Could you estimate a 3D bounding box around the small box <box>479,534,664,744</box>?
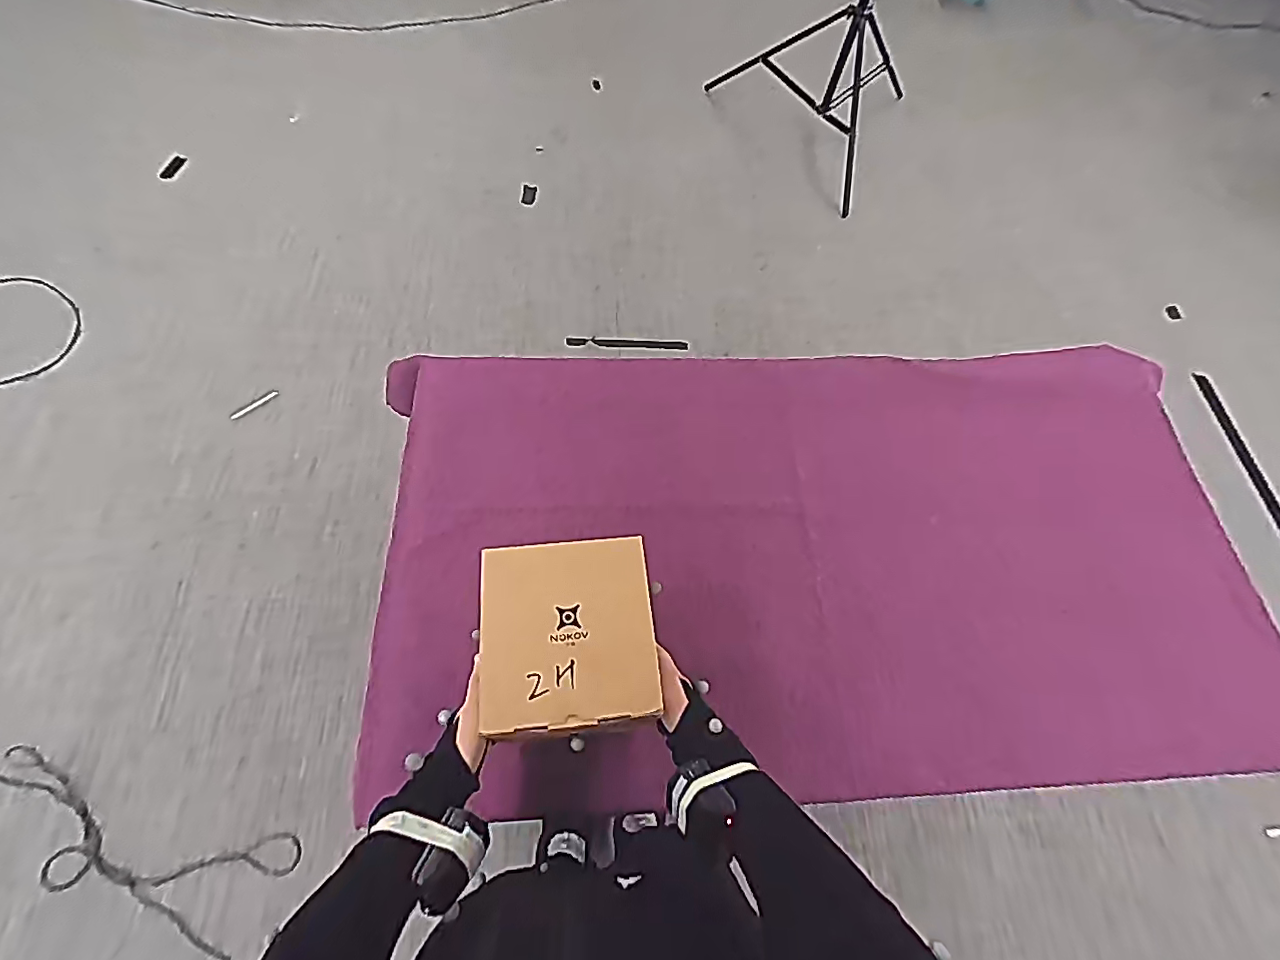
[{"bbox_3d":[-0.072,0.176,0.585,0.168,0.176,0.179,-4,61,-6],"label":"small box"}]
